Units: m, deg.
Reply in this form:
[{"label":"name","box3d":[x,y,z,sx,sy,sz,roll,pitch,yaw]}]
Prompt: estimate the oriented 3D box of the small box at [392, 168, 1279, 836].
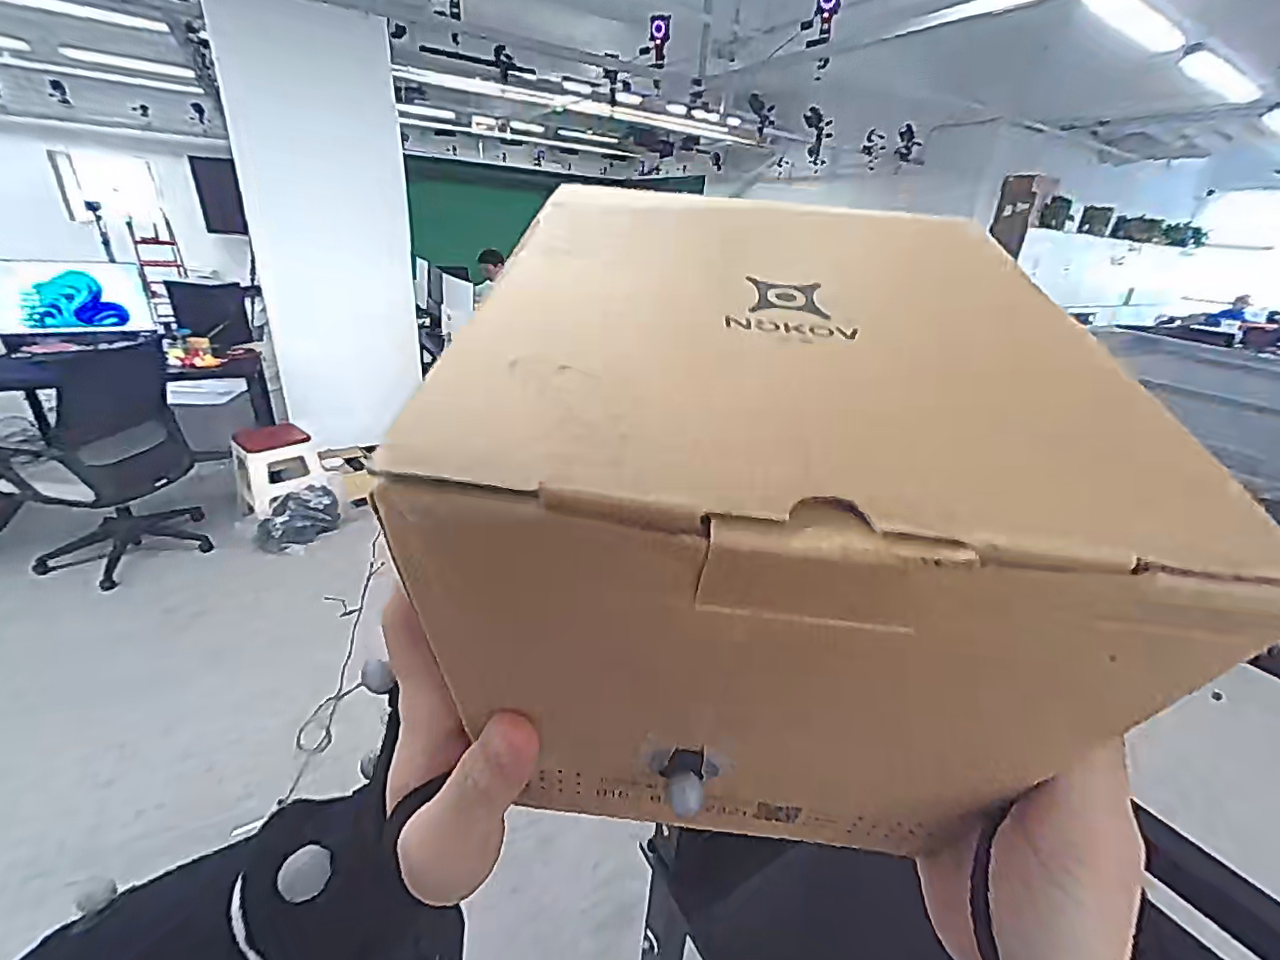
[{"label":"small box","box3d":[0.038,0.004,0.205,0.168,0.176,0.179,6,44,1]}]
